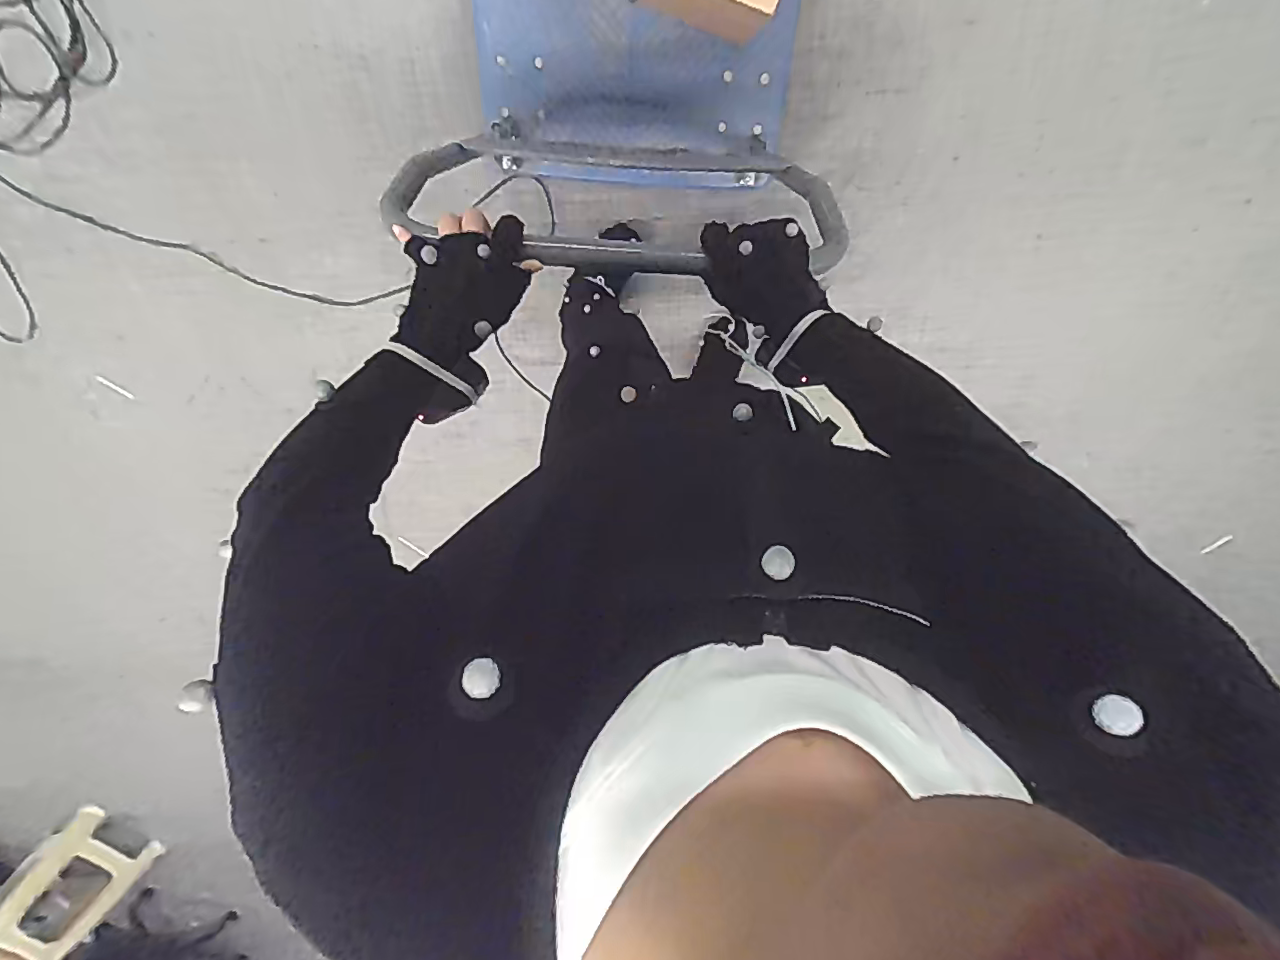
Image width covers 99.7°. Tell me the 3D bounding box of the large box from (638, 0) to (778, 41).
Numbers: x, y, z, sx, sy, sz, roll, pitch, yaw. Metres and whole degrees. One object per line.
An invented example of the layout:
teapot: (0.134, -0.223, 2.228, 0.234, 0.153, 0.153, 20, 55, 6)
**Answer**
large box: (0.042, -0.881, 0.753, 0.408, 0.320, 0.320, 16, 122, -8)
